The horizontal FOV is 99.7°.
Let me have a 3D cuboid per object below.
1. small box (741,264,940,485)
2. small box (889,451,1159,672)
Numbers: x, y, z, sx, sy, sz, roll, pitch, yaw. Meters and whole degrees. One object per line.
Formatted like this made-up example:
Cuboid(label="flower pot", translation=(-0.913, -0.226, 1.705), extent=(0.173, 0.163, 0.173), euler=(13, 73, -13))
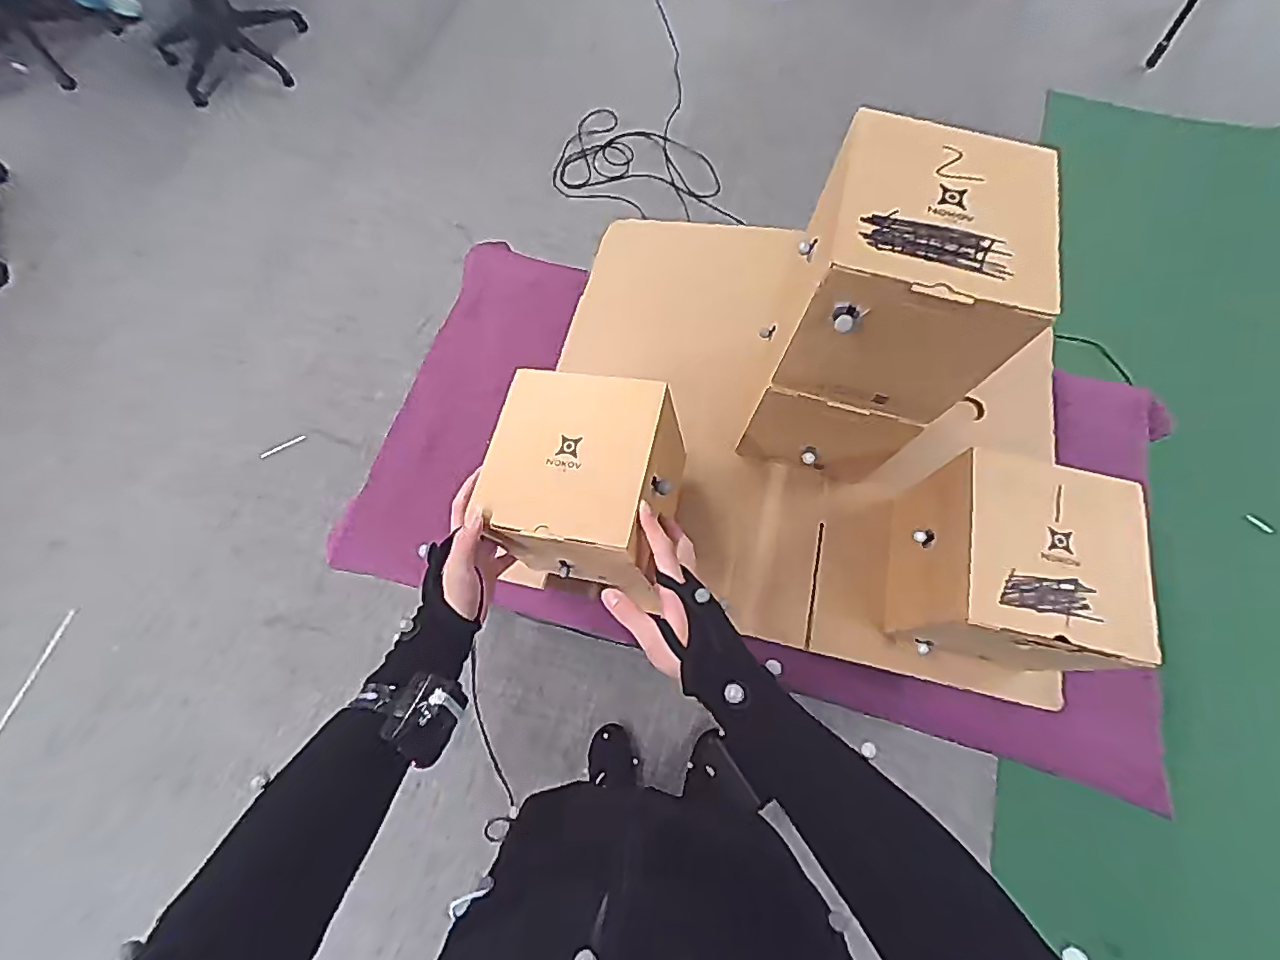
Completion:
Cuboid(label="small box", translation=(0.227, -0.116, 0.644), extent=(0.168, 0.176, 0.179), euler=(14, 70, 3))
Cuboid(label="small box", translation=(0.382, 0.096, 0.571), extent=(0.168, 0.176, 0.179), euler=(13, 69, 3))
